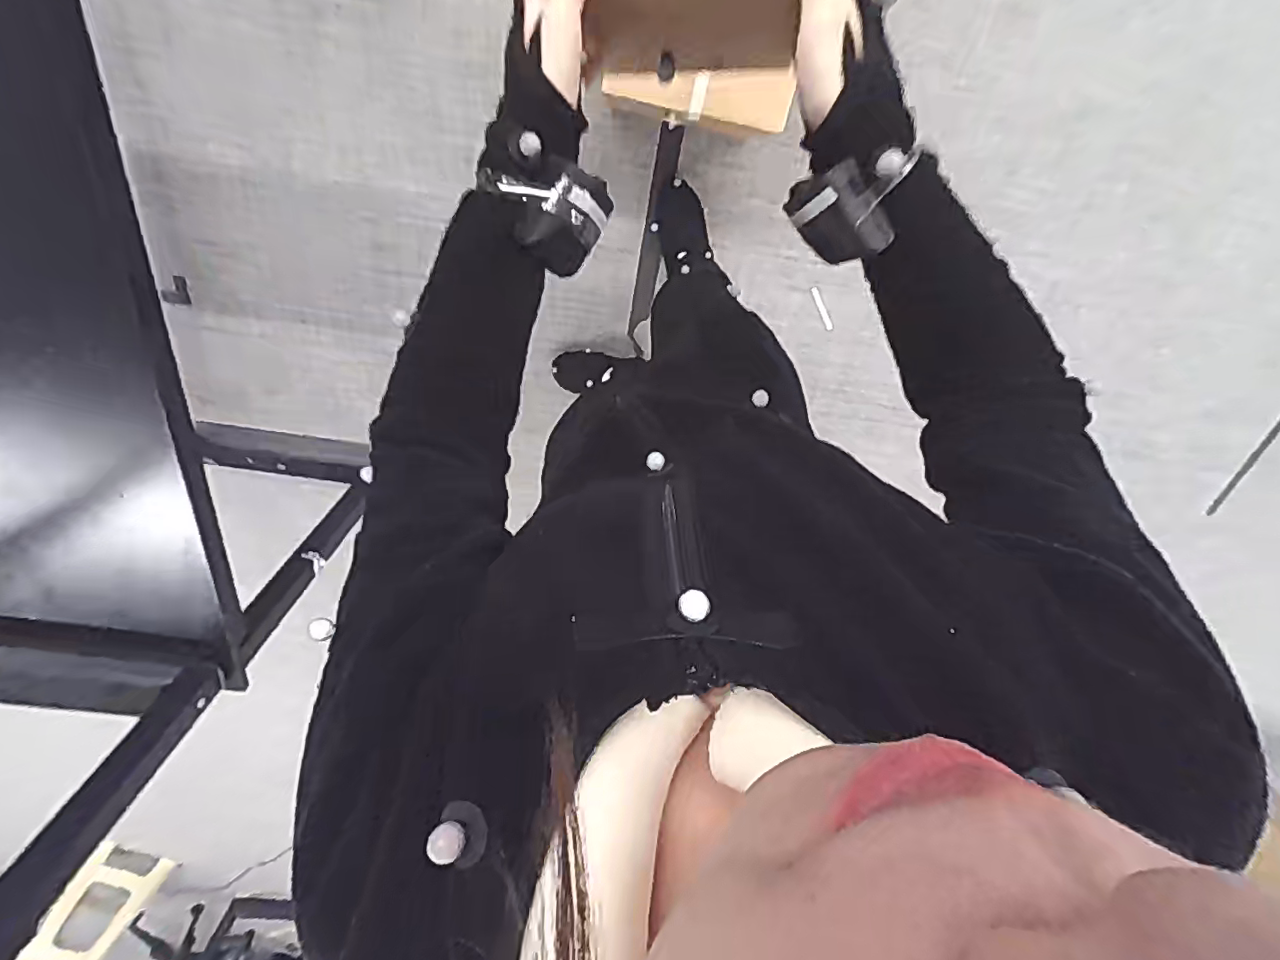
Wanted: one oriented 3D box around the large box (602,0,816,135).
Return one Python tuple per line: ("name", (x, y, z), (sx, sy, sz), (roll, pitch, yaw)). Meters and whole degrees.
("large box", (0.121, -0.852, 0.917), (0.320, 0.320, 0.408), (9, 120, -7))
